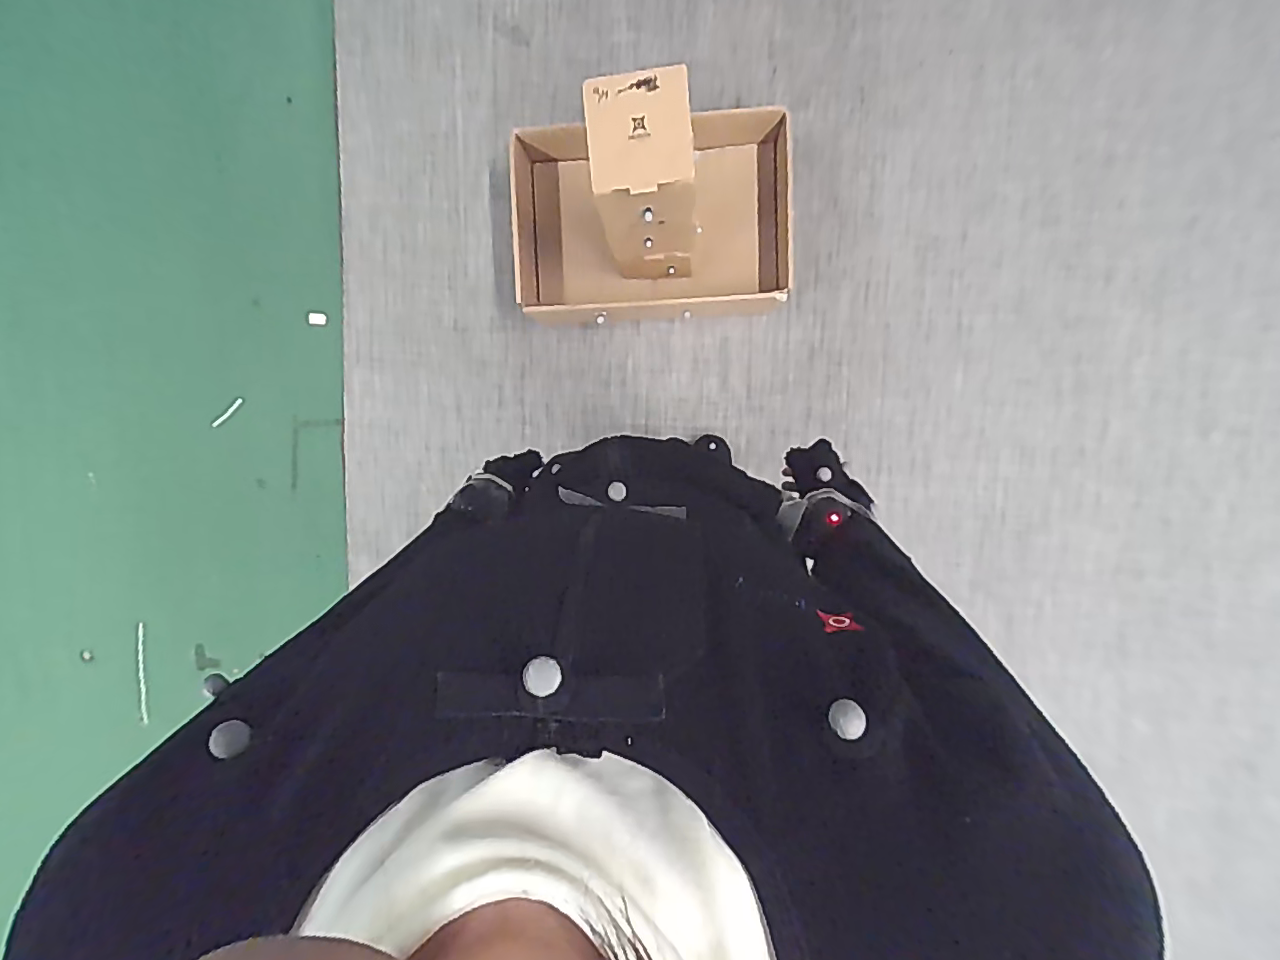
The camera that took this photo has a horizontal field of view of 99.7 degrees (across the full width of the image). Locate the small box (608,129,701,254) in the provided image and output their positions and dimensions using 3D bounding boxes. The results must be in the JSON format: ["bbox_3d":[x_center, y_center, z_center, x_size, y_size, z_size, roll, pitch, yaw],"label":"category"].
[{"bbox_3d":[0.025,-0.569,1.087,0.179,0.176,0.168,-5,95,5],"label":"small box"}]

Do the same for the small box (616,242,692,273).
[{"bbox_3d":[0.037,-0.587,1.249,0.168,0.176,0.179,0,94,5],"label":"small box"}]

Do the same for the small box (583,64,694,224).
[{"bbox_3d":[0.006,-0.557,0.925,0.168,0.176,0.179,-4,95,6],"label":"small box"}]
